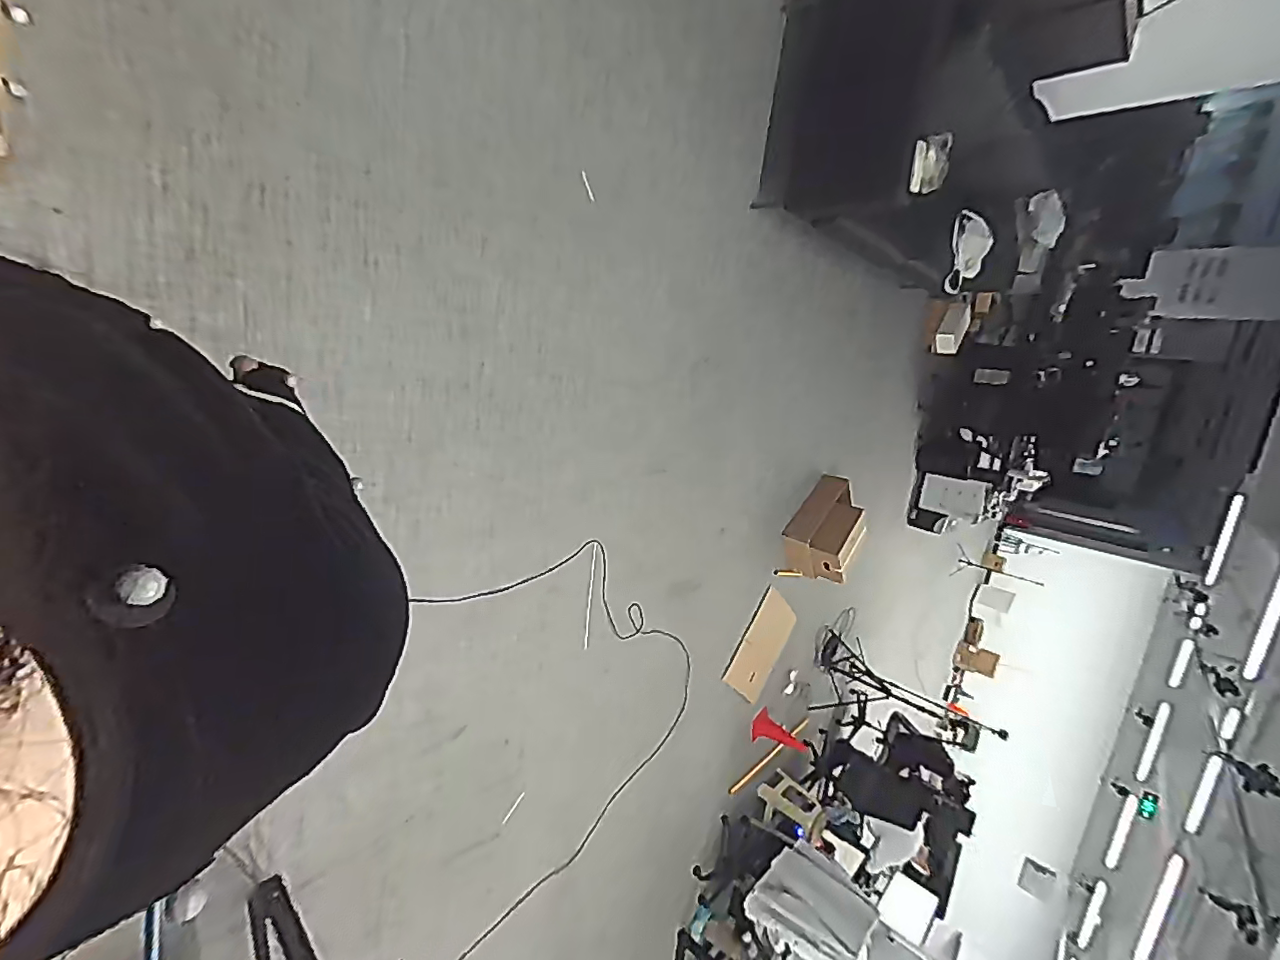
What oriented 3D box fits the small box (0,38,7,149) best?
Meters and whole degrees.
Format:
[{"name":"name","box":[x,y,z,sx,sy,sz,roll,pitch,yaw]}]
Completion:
[{"name":"small box","box":[-0.856,-0.512,0.617,0.168,0.176,0.179,1,99,-49]}]
